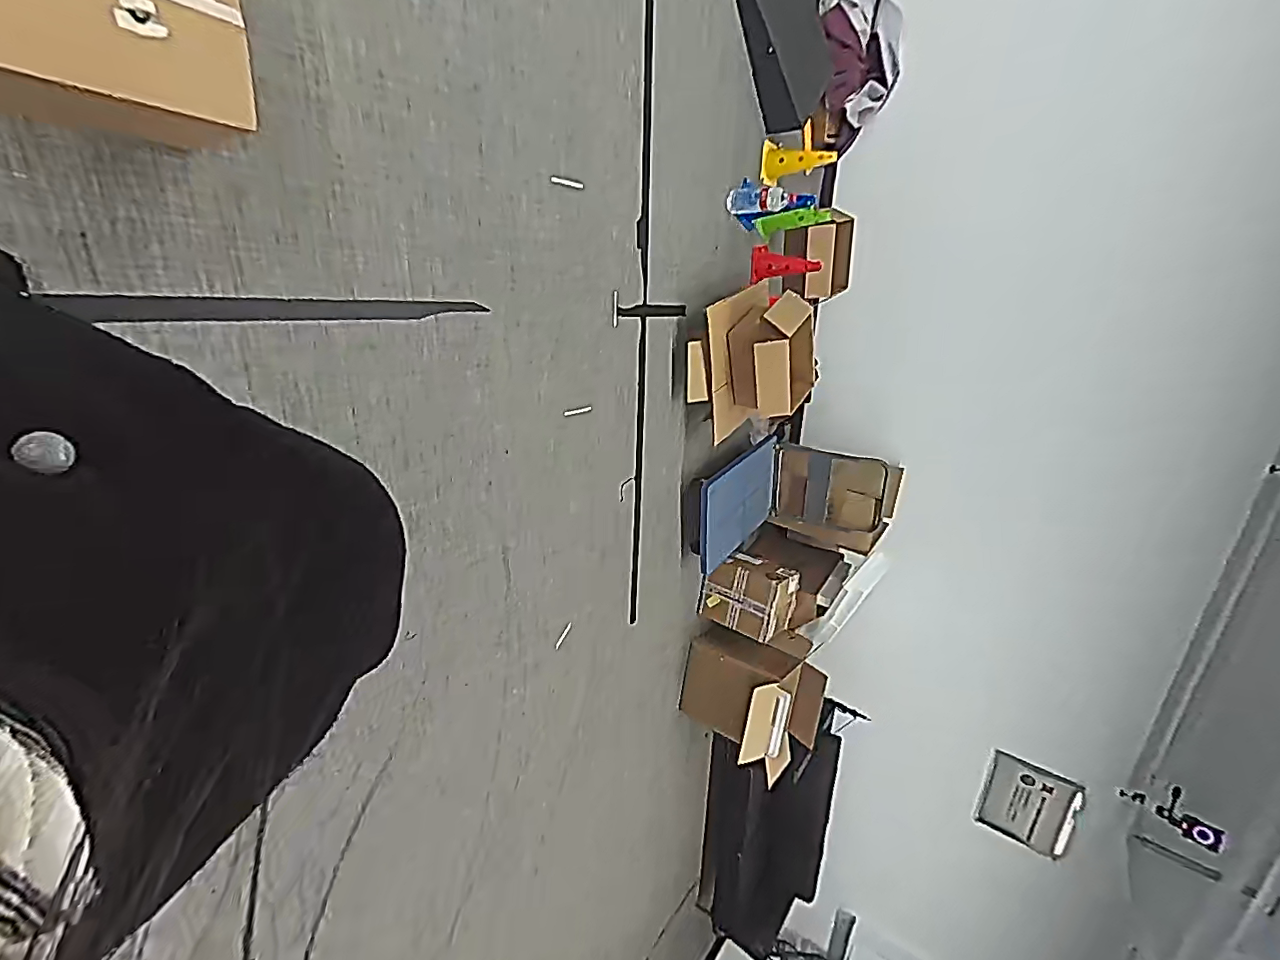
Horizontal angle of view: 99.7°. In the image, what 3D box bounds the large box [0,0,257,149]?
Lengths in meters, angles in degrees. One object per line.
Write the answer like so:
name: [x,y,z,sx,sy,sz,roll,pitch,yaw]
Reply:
large box: [-0.882,-0.729,0.801,0.408,0.320,0.320,-20,119,-51]
